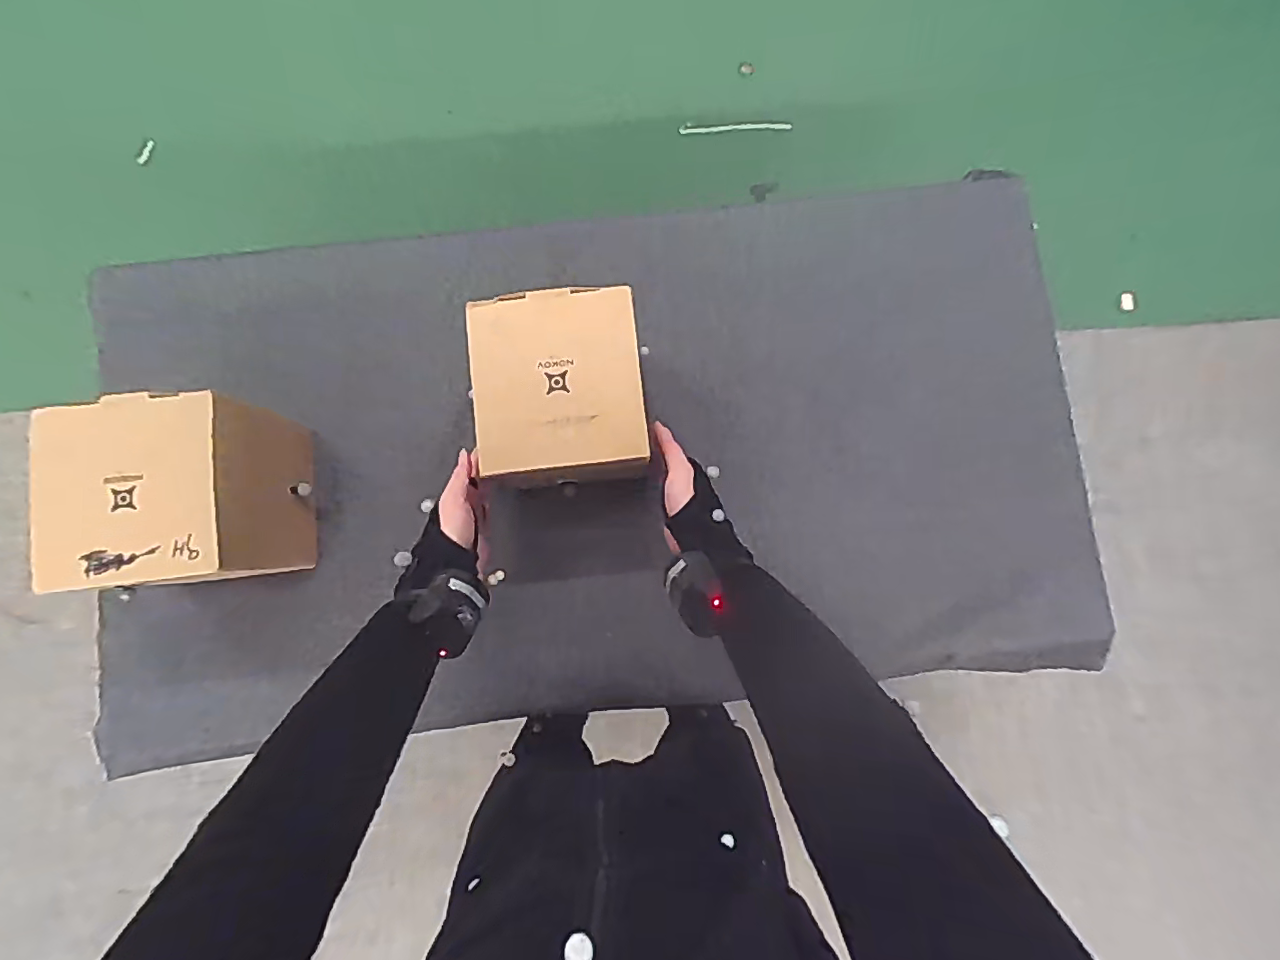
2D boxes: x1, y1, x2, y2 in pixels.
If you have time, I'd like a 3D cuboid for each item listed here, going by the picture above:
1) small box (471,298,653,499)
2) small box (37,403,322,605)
[{"bbox_3d":[-0.079,-0.078,0.601,0.168,0.176,0.179,-6,84,-1],"label":"small box"},{"bbox_3d":[-0.469,0.031,0.578,0.168,0.176,0.179,-7,82,-1],"label":"small box"}]
